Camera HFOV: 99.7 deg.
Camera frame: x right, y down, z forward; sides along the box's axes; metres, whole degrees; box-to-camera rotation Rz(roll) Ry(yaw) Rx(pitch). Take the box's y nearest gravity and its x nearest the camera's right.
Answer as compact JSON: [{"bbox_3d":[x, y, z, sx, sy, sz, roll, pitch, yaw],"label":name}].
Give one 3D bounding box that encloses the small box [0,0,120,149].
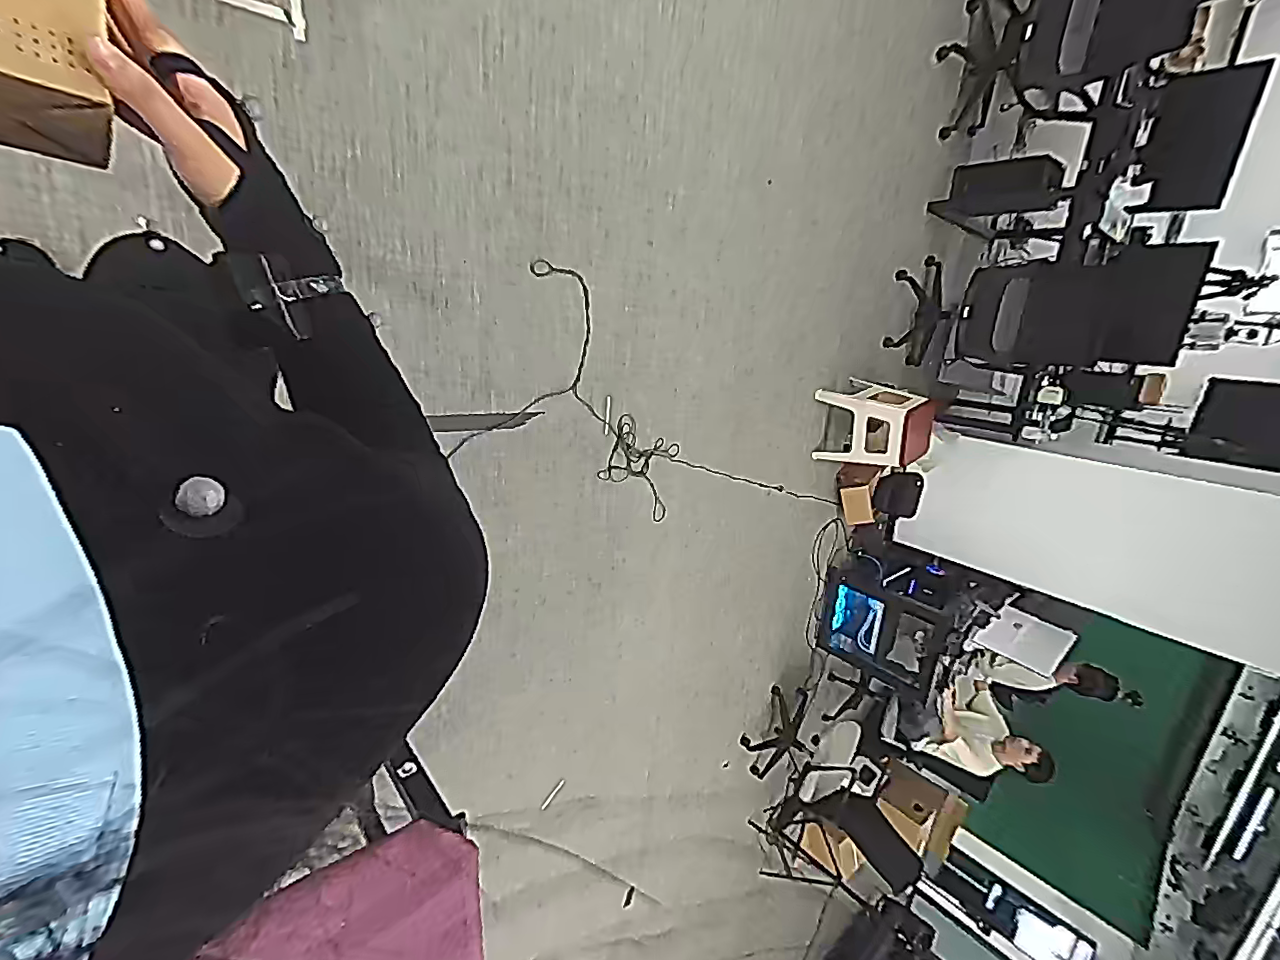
[{"bbox_3d":[-0.404,-0.309,0.294,0.168,0.179,0.176,-4,104,-45],"label":"small box"}]
